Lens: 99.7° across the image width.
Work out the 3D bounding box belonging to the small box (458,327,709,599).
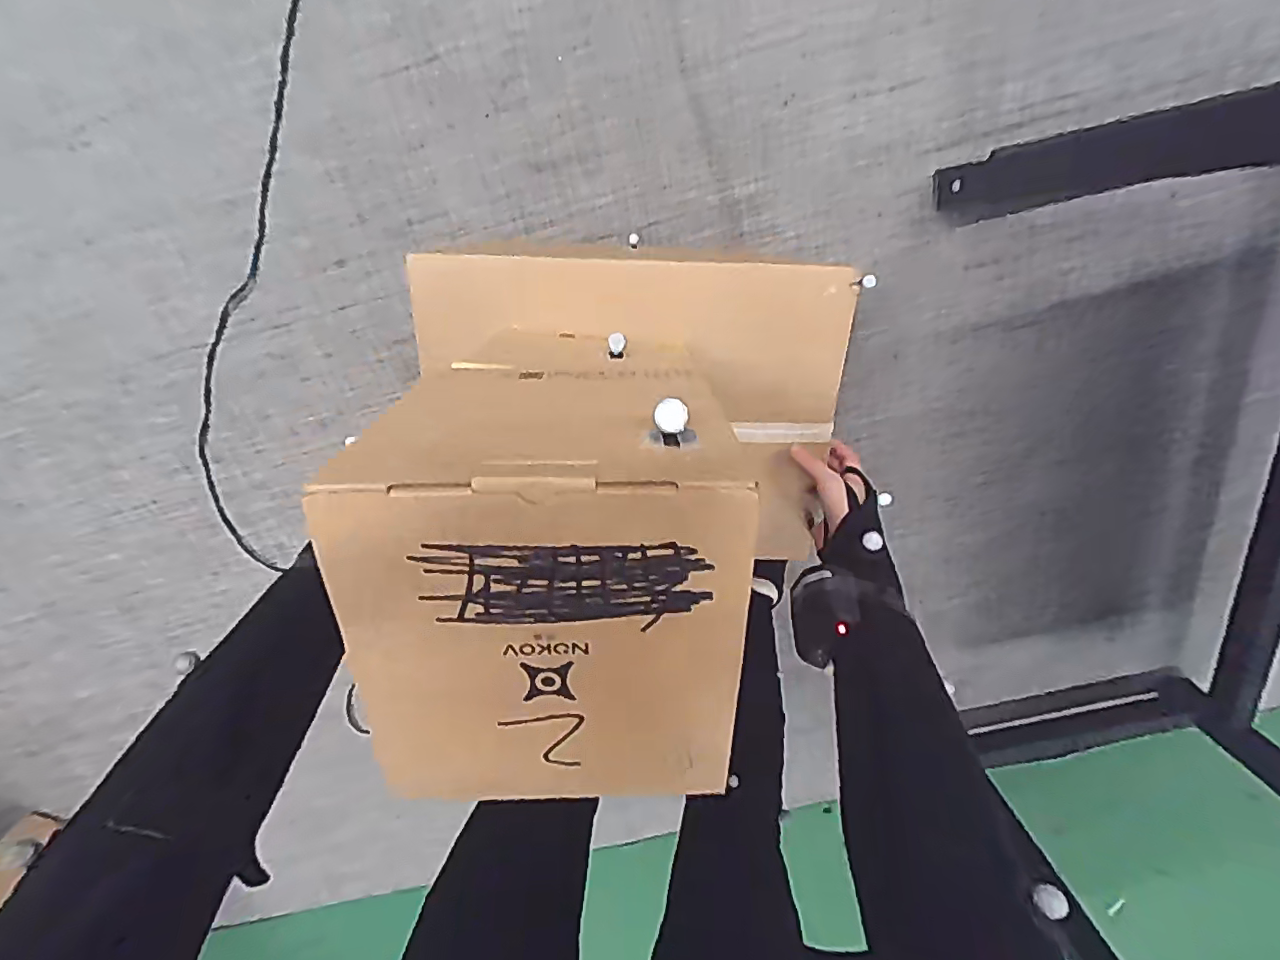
[{"bbox_3d":[-0.047,-0.025,0.452,0.168,0.176,0.179,4,114,-4],"label":"small box"}]
